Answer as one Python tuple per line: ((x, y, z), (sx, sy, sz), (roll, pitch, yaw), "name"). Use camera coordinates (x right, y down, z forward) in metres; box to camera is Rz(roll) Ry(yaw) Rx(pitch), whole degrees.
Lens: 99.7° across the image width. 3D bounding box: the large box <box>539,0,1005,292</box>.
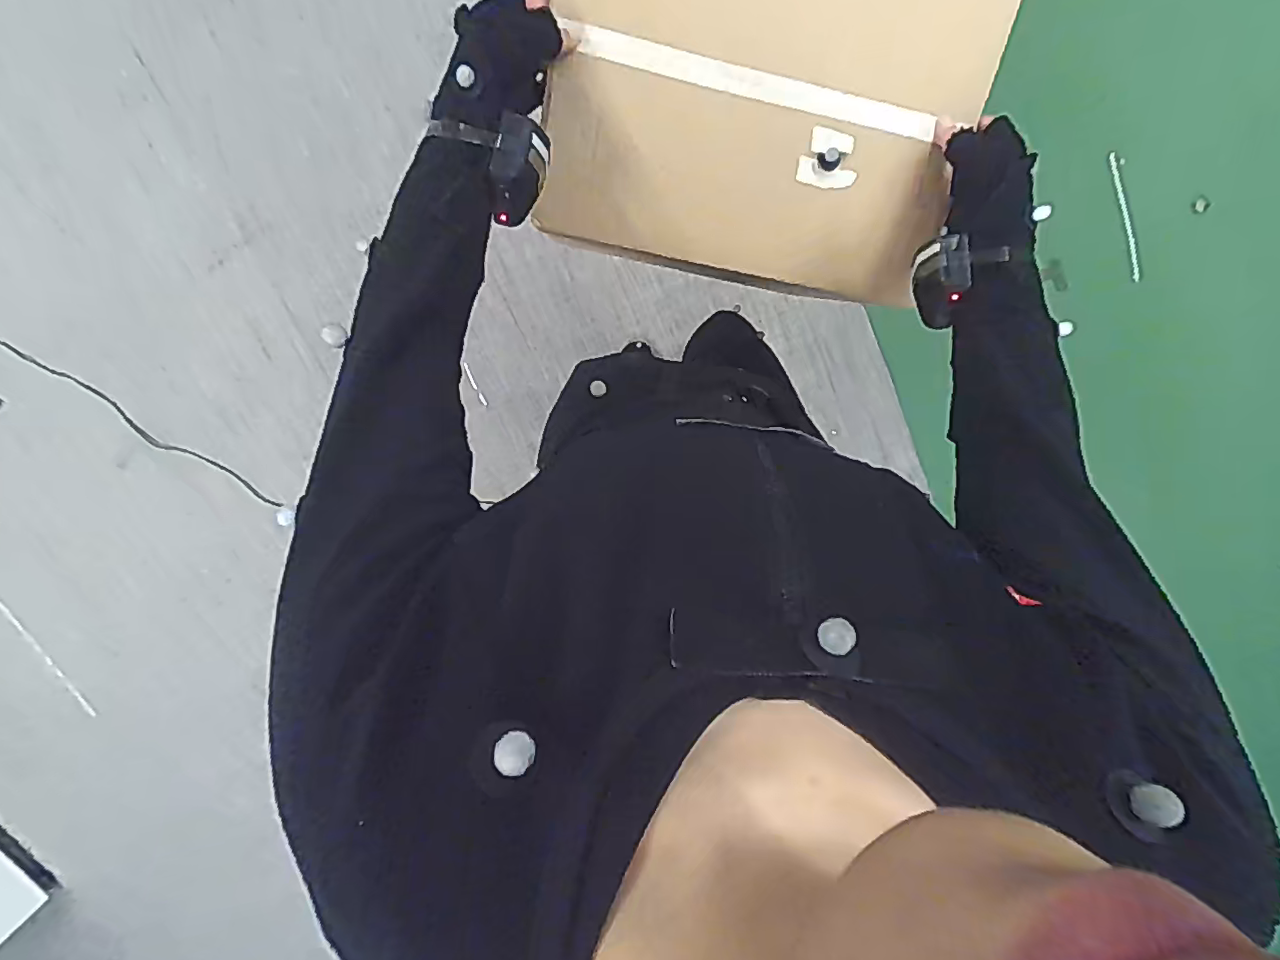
((0.105, -0.418, 0.636), (0.408, 0.320, 0.320), (8, 111, -9), "large box")
